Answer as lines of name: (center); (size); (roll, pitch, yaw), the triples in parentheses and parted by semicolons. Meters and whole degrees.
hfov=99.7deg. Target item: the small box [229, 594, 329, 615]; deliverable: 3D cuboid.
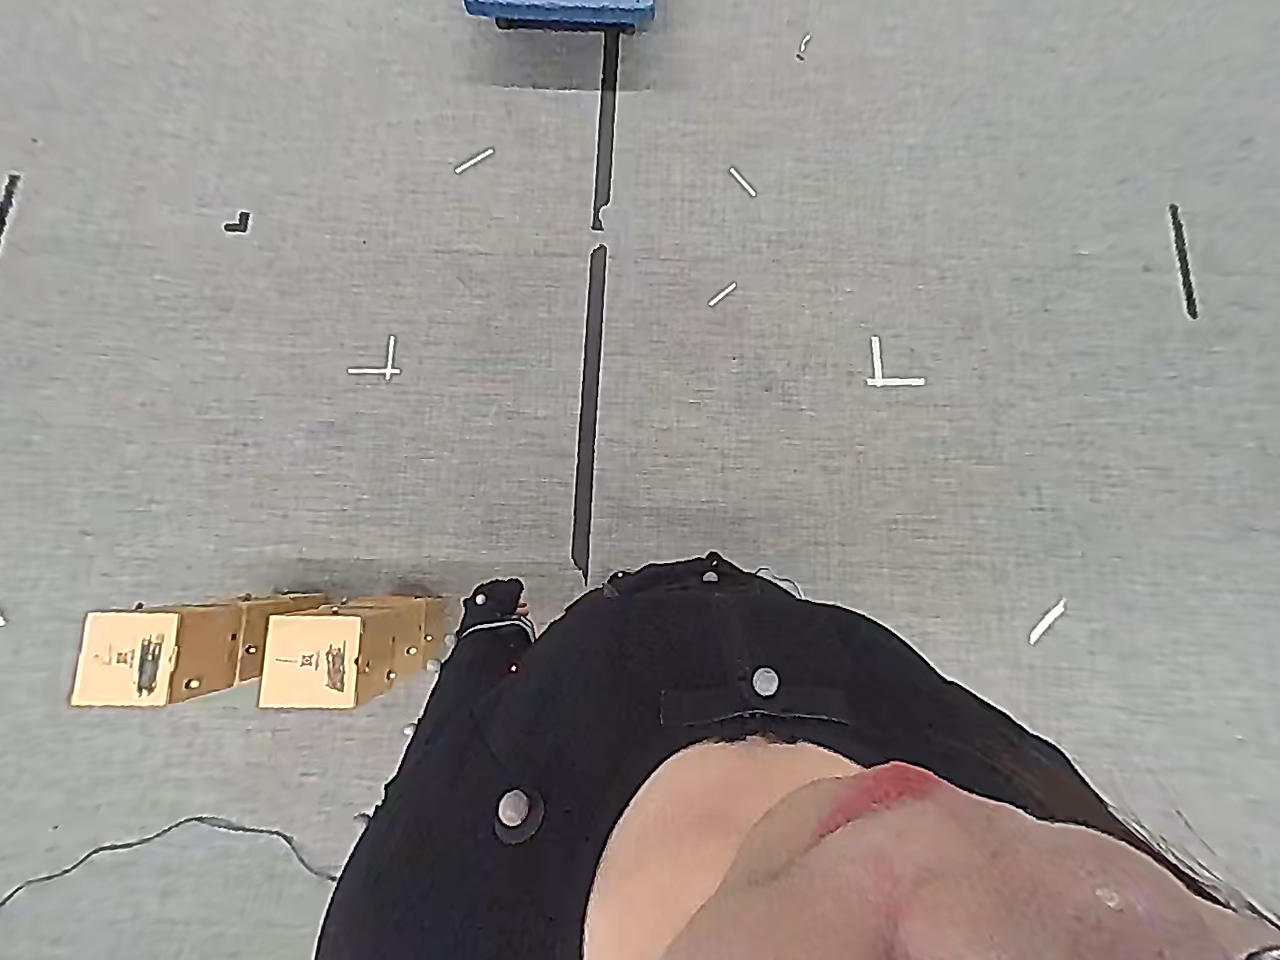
small box: (-0.937, 0.390, 1.404); (0.168, 0.176, 0.179); (0, 80, -1)

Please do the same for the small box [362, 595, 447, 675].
small box: (-0.616, 0.397, 1.407); (0.168, 0.176, 0.179); (4, 80, -1)

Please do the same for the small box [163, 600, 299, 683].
small box: (-0.929, 0.365, 1.242); (0.179, 0.176, 0.168); (-1, 81, 0)

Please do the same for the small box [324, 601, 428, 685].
small box: (-0.606, 0.370, 1.248); (0.179, 0.176, 0.168); (0, 81, -1)

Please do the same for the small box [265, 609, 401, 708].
small box: (-0.602, 0.350, 1.084); (0.179, 0.176, 0.168); (1, 81, 0)
